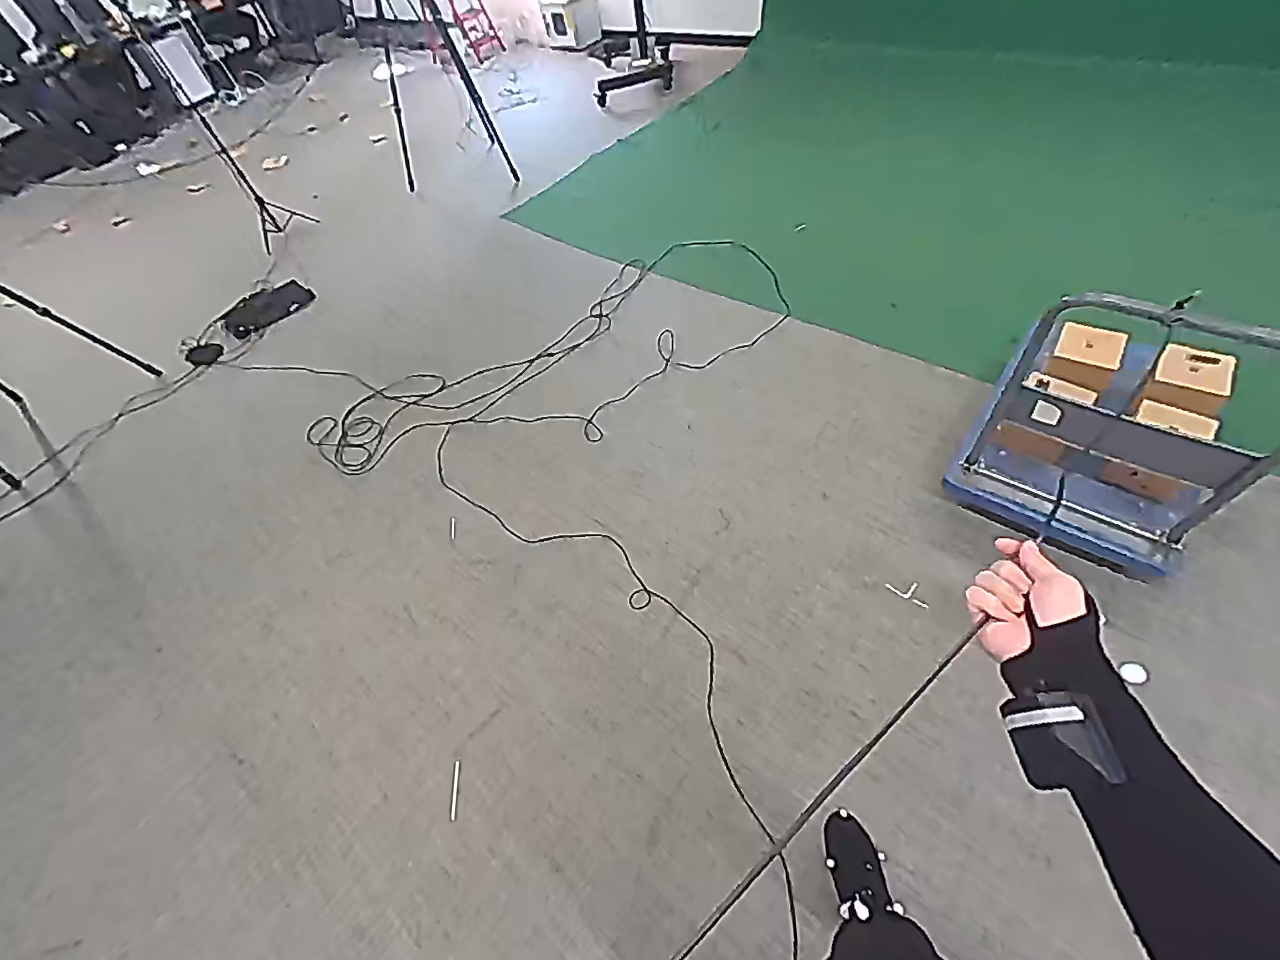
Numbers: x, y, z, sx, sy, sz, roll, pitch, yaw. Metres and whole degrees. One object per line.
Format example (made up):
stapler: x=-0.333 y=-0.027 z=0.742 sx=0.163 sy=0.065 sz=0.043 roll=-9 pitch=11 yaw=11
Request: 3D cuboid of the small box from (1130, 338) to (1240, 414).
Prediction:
small box: x=1.589 y=-0.281 z=1.584 sx=0.168 sy=0.176 sz=0.179 roll=25 pitch=63 yaw=28

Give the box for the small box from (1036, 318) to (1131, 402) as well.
small box: x=1.384 y=-0.374 z=1.697 sx=0.168 sy=0.176 sz=0.179 roll=25 pitch=62 yaw=26

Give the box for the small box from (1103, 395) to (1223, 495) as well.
small box: x=1.422 y=-0.095 z=1.480 sx=0.168 sy=0.176 sz=0.179 roll=30 pitch=65 yaw=29
